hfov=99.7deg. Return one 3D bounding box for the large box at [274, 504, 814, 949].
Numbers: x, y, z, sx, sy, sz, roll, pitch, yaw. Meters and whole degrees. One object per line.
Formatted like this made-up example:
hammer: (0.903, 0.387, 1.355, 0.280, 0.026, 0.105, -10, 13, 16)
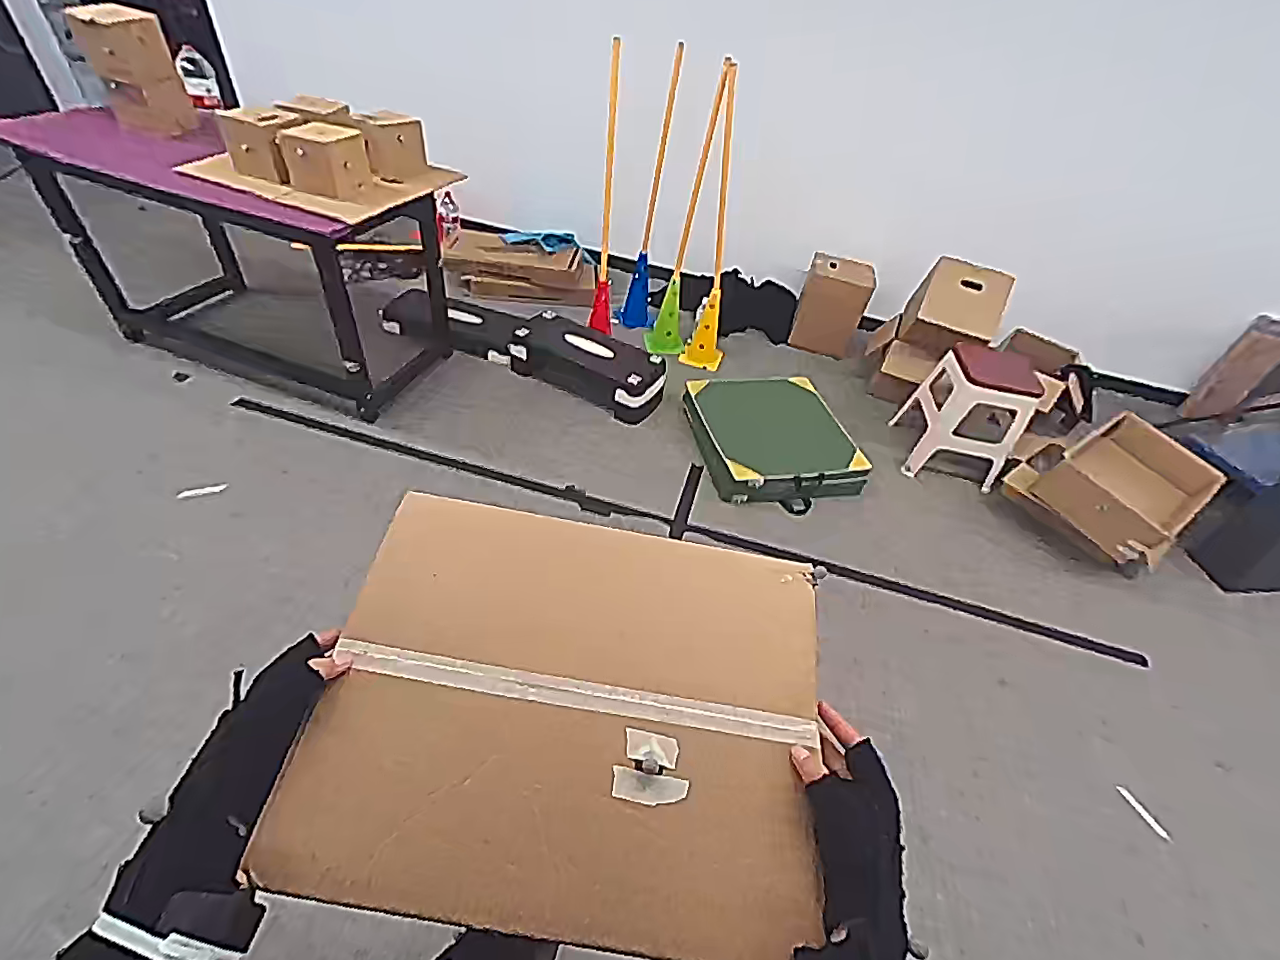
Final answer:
large box: (-0.067, 0.261, 0.593, 0.408, 0.320, 0.320, 11, 58, -1)
